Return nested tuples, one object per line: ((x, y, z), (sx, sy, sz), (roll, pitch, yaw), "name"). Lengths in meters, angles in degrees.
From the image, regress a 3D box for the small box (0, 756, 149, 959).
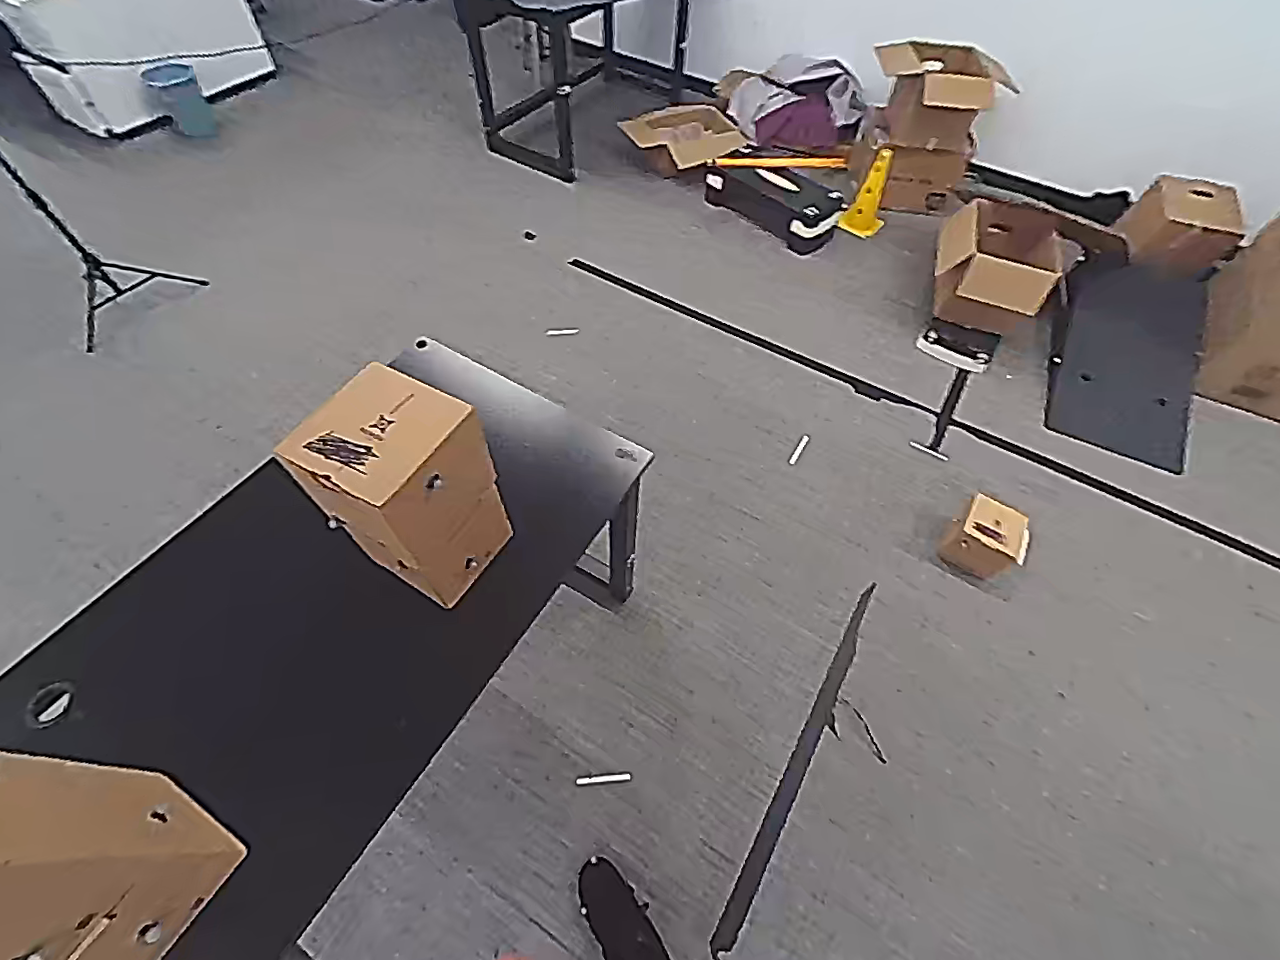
((-0.600, 0.357, 0.463), (0.179, 0.176, 0.168), (27, 60, 14), "small box")

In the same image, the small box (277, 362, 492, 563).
((-0.320, -0.018, 0.725), (0.168, 0.176, 0.179), (25, 58, 13), "small box")

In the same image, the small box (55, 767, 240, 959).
((-0.606, 0.449, 0.600), (0.179, 0.176, 0.168), (27, 59, 14), "small box")

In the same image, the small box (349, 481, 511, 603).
((-0.332, 0.070, 0.864), (0.179, 0.176, 0.168), (28, 60, 14), "small box")
